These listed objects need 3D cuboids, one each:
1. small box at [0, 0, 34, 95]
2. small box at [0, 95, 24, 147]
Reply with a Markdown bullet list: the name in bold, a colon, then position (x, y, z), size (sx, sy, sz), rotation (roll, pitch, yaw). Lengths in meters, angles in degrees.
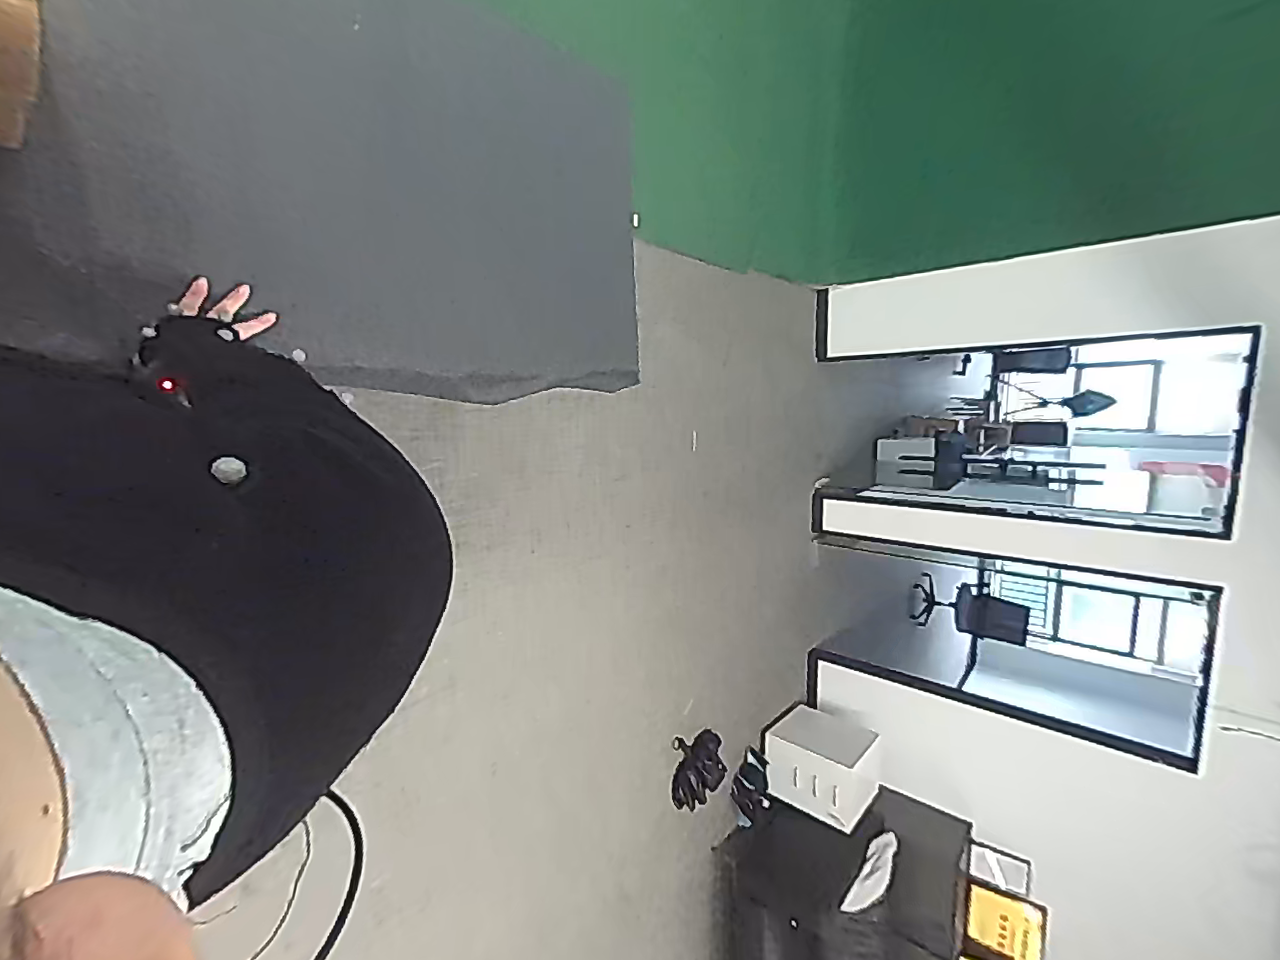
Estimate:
- **small box**: position (-0.499, -0.377, 0.323), size (0.168, 0.176, 0.179), rotation (-13, 102, -49)
- **small box**: position (-0.622, -0.401, 0.427), size (0.168, 0.176, 0.179), rotation (-9, 101, -49)
